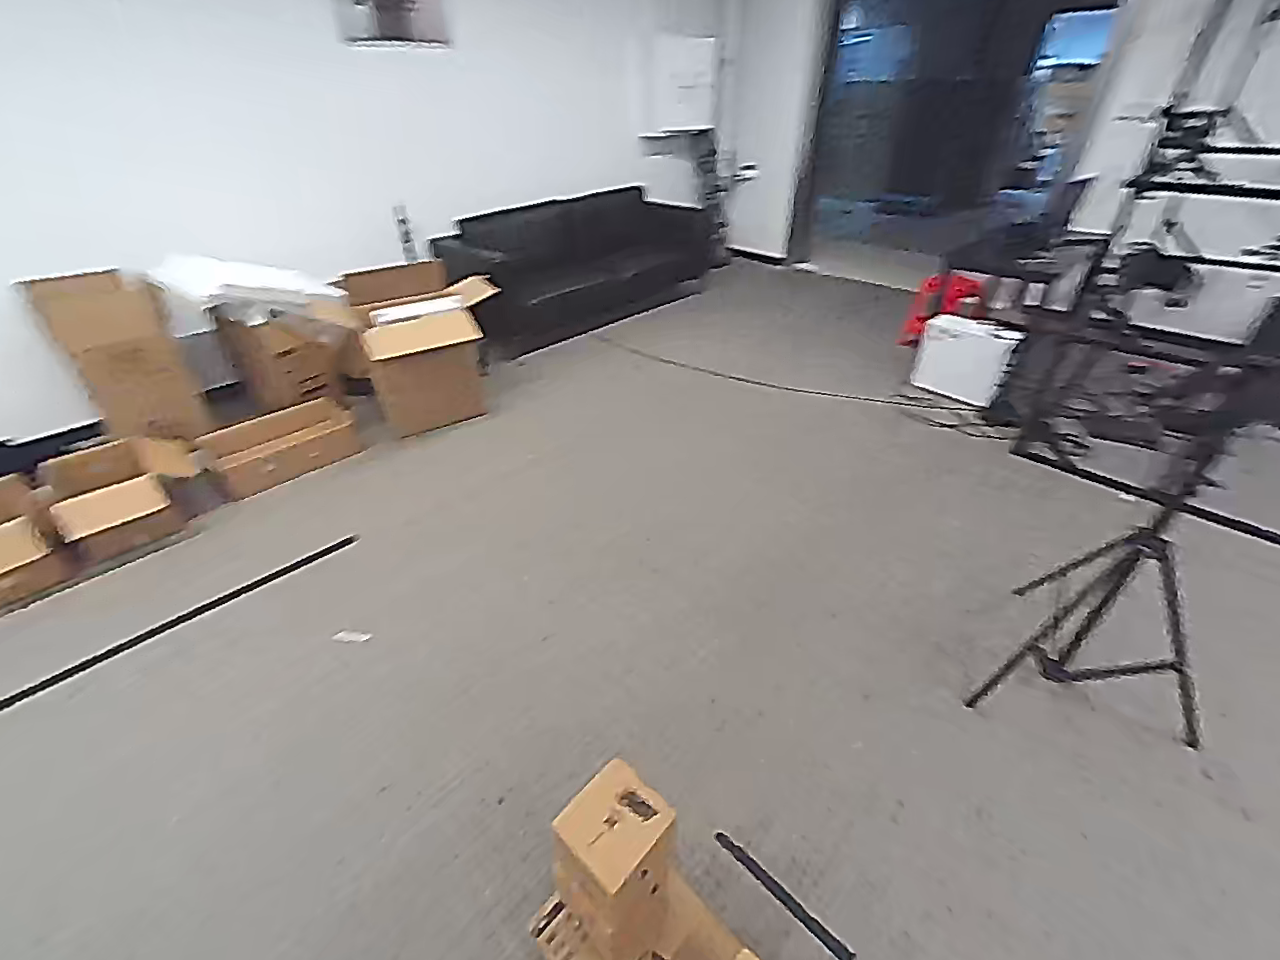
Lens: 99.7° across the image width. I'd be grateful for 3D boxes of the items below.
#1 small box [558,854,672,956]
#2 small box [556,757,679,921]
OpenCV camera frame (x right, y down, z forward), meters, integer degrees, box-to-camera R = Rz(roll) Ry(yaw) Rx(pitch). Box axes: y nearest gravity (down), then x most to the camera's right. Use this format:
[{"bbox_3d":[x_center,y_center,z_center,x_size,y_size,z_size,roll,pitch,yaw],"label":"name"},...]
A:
[{"bbox_3d":[-0.053,0.836,1.139,0.168,0.176,0.179,30,45,35],"label":"small box"},{"bbox_3d":[-0.044,0.695,1.054,0.168,0.176,0.179,29,45,34],"label":"small box"}]
